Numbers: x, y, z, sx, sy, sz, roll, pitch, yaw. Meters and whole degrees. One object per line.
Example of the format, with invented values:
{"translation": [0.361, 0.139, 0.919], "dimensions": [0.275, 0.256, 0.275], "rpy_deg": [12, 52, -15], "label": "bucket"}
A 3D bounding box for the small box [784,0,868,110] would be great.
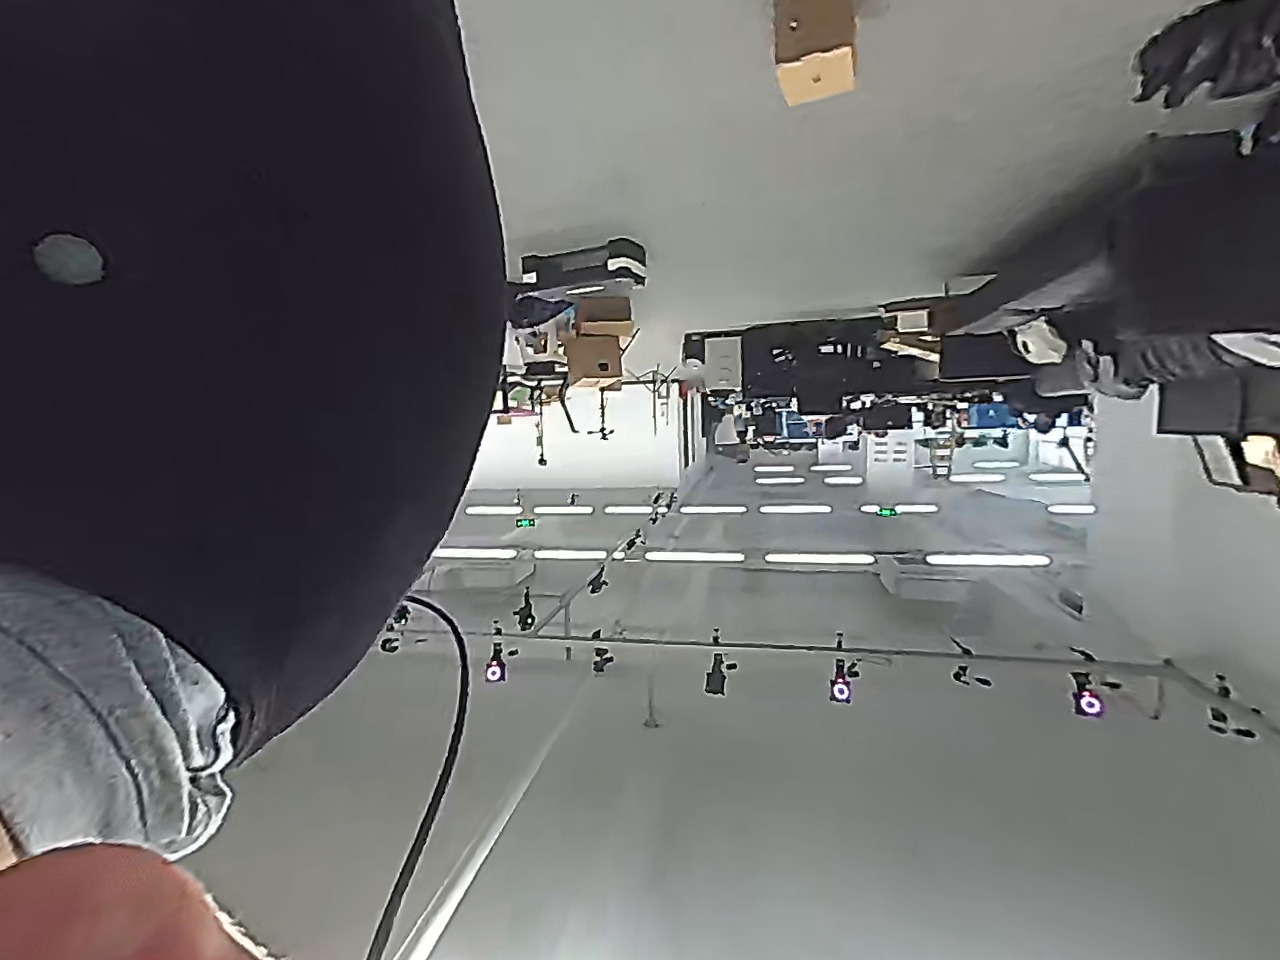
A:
{"translation": [0.429, -1.004, 1.244], "dimensions": [0.168, 0.176, 0.179], "rpy_deg": [3, -171, 27], "label": "small box"}
